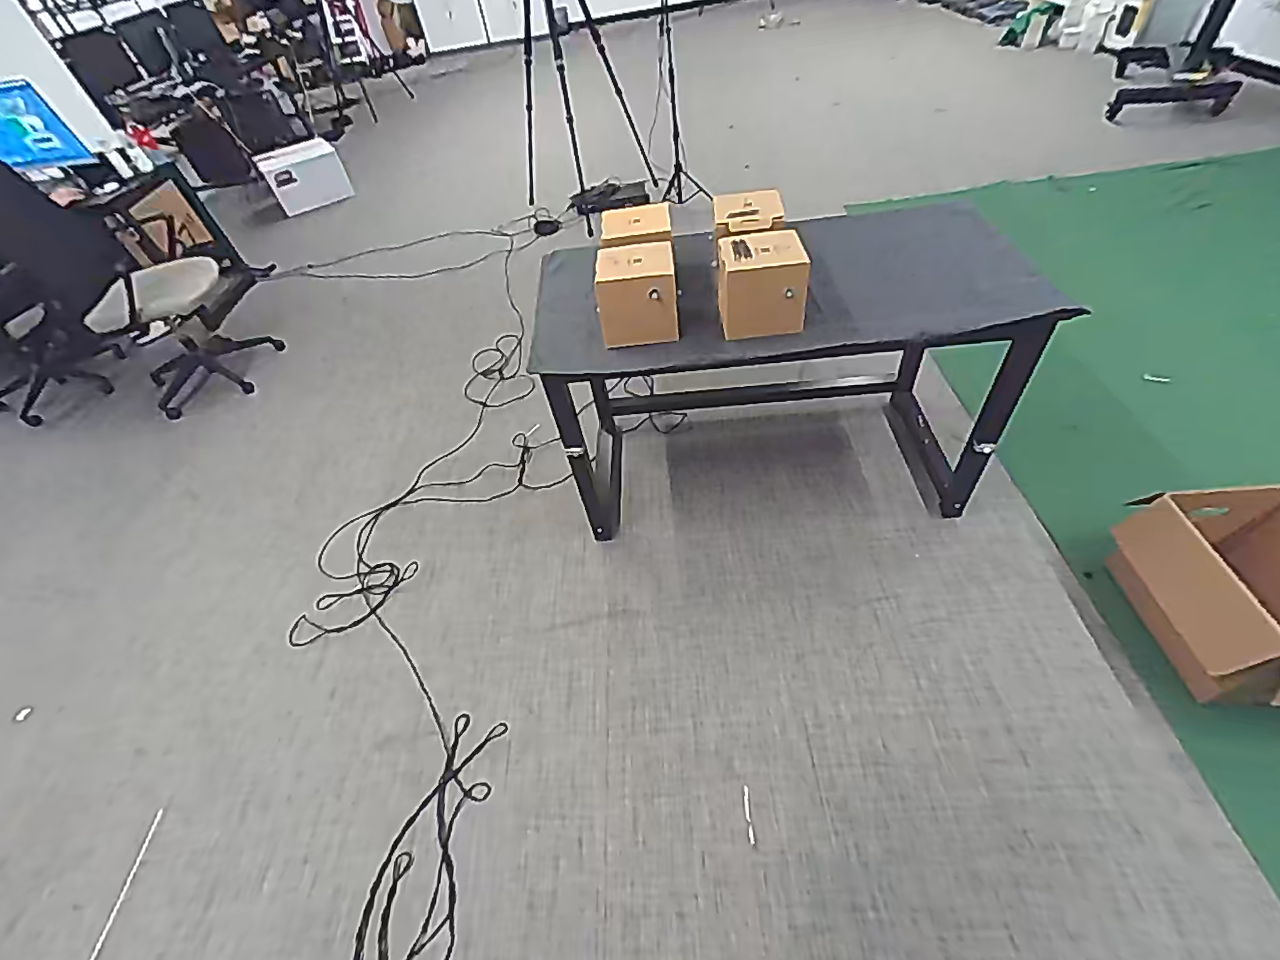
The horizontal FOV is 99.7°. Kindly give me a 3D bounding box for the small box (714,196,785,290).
[{"bbox_3d":[0.279,-0.605,1.395,0.168,0.176,0.179,-2,47,8],"label":"small box"}]

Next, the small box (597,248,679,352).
[{"bbox_3d":[0.001,-0.423,1.275,0.179,0.176,0.168,-5,46,5],"label":"small box"}]

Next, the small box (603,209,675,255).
[{"bbox_3d":[0.004,-0.586,1.429,0.179,0.176,0.168,-6,48,5],"label":"small box"}]
